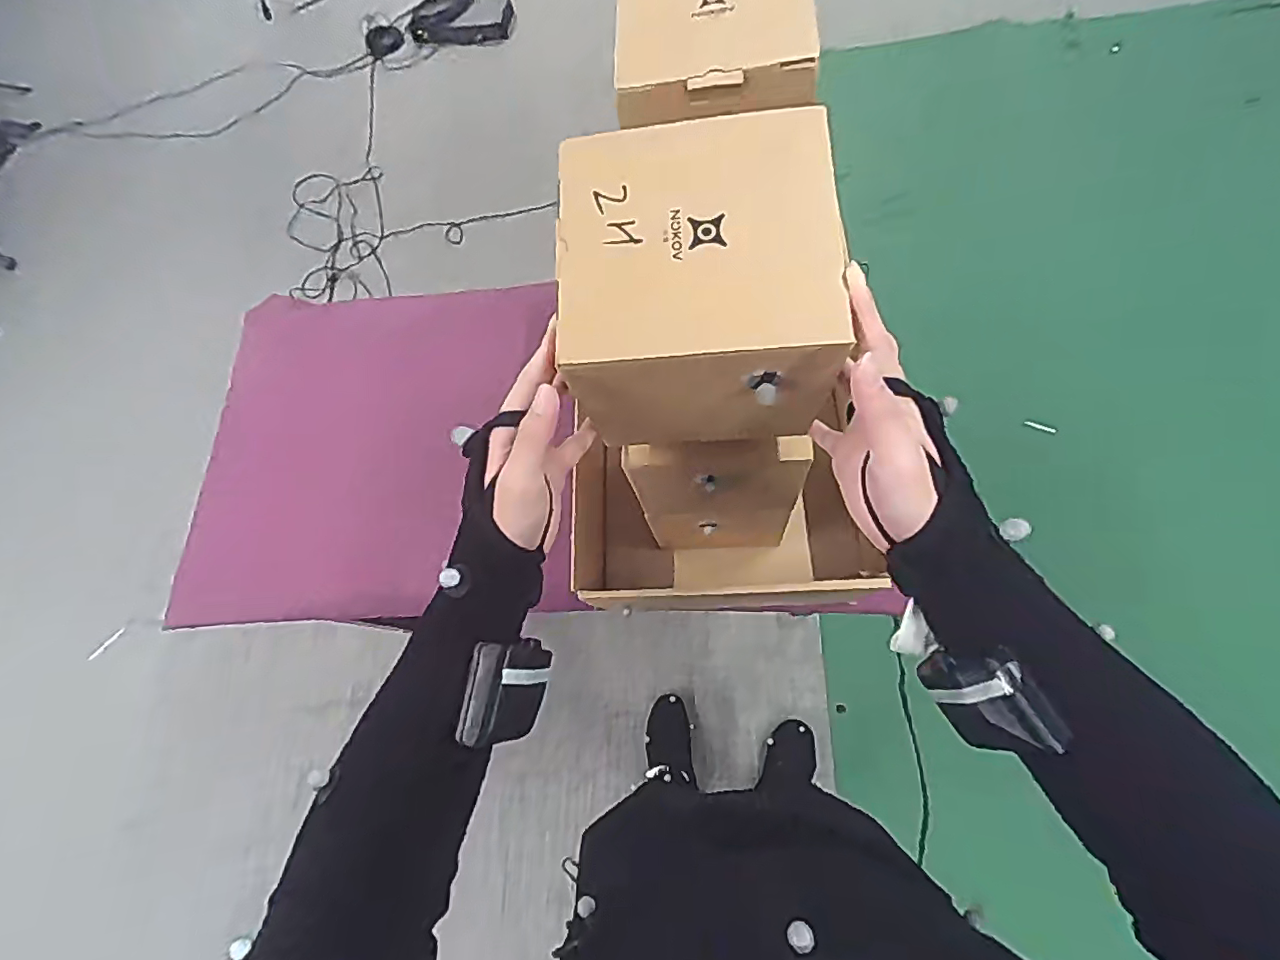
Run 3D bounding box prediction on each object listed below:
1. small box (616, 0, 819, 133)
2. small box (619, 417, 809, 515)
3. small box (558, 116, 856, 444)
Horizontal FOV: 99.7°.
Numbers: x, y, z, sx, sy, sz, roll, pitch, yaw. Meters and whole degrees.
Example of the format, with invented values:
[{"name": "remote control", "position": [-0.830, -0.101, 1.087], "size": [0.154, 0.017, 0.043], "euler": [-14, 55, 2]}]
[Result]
[{"name": "small box", "position": [0.074, -0.370, 0.532], "size": [0.168, 0.176, 0.179], "euler": [-1, 71, 8]}, {"name": "small box", "position": [0.083, -0.062, 0.593], "size": [0.179, 0.176, 0.168], "euler": [0, 70, 9]}, {"name": "small box", "position": [0.046, -0.130, 0.410], "size": [0.179, 0.176, 0.168], "euler": [-2, 76, 7]}]
